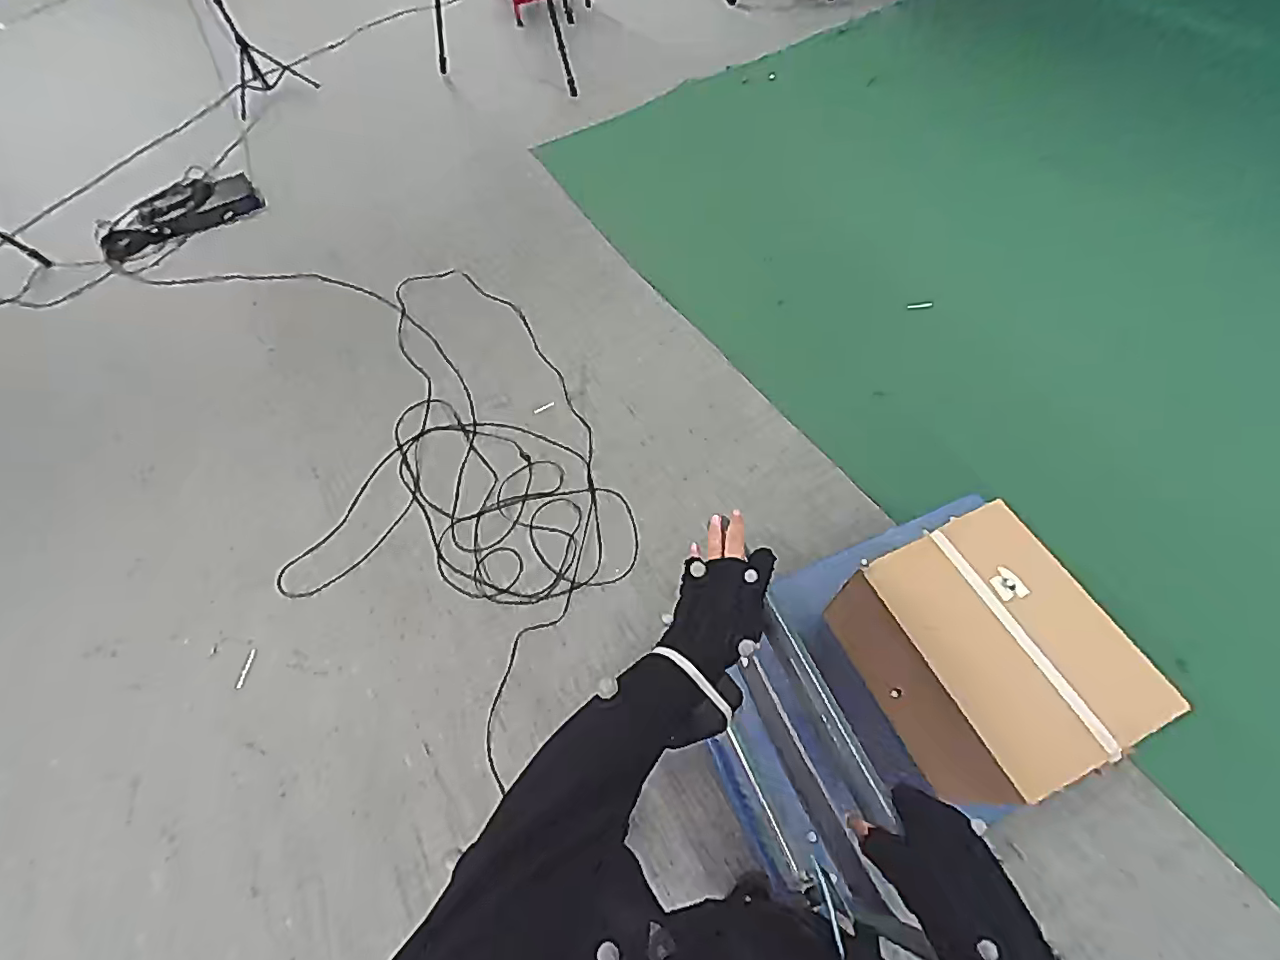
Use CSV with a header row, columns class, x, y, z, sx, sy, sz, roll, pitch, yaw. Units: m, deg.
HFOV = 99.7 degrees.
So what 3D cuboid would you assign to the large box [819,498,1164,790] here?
class,x,y,z,sx,sy,sz,roll,pitch,yaw
large box,0.613,0.317,1.041,0.320,0.320,0.408,-23,61,-9
